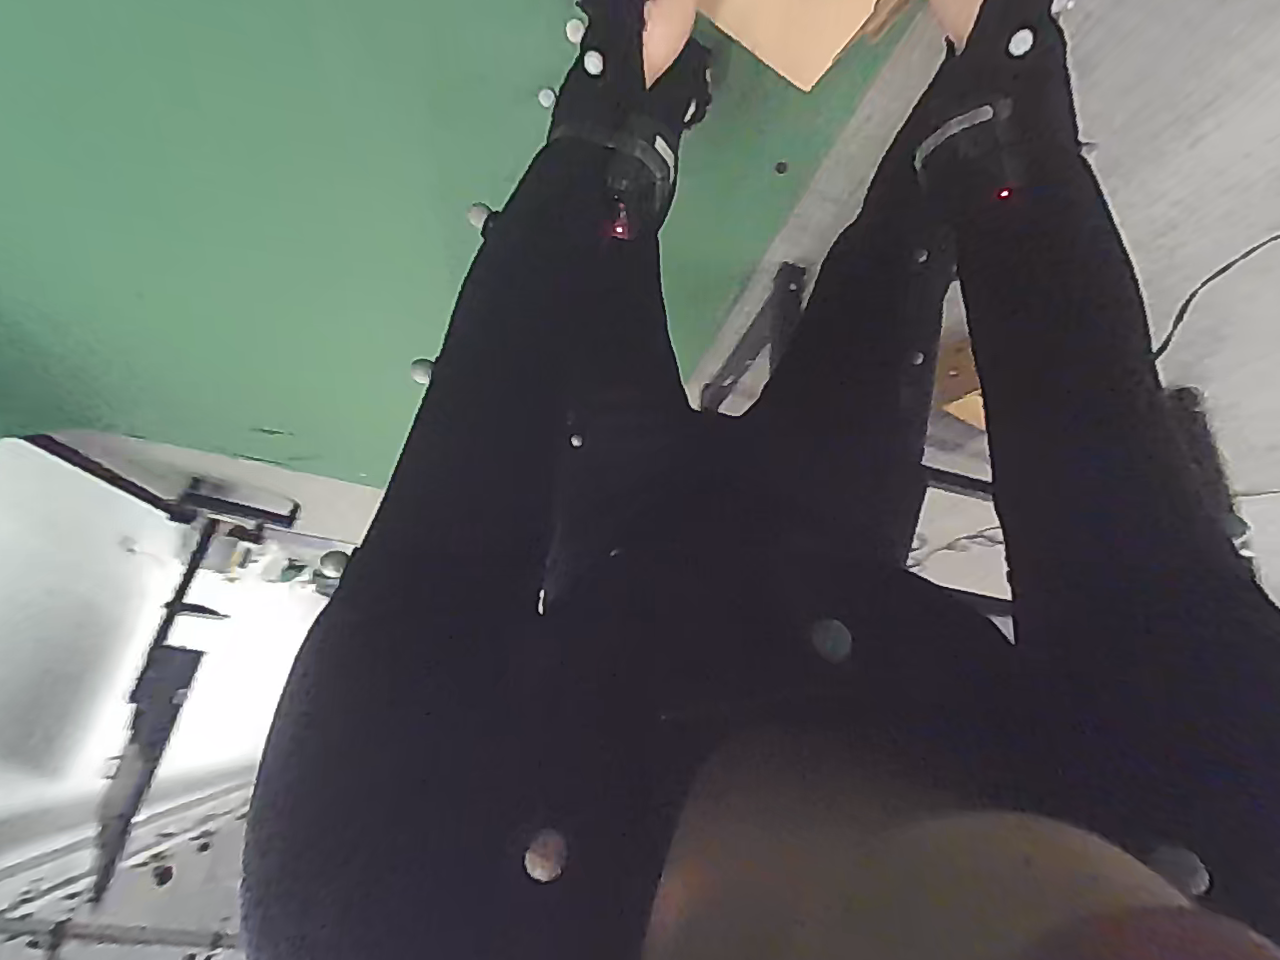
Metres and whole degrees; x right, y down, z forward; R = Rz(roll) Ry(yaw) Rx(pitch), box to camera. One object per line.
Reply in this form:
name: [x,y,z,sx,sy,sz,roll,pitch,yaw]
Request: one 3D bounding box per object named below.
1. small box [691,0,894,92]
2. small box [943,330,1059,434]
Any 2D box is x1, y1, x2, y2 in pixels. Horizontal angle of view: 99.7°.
small box: [0.125,-0.469,0.418,0.179,0.176,0.168,13,153,-30]
small box: [0.874,-0.240,1.323,0.179,0.176,0.168,17,156,-23]
